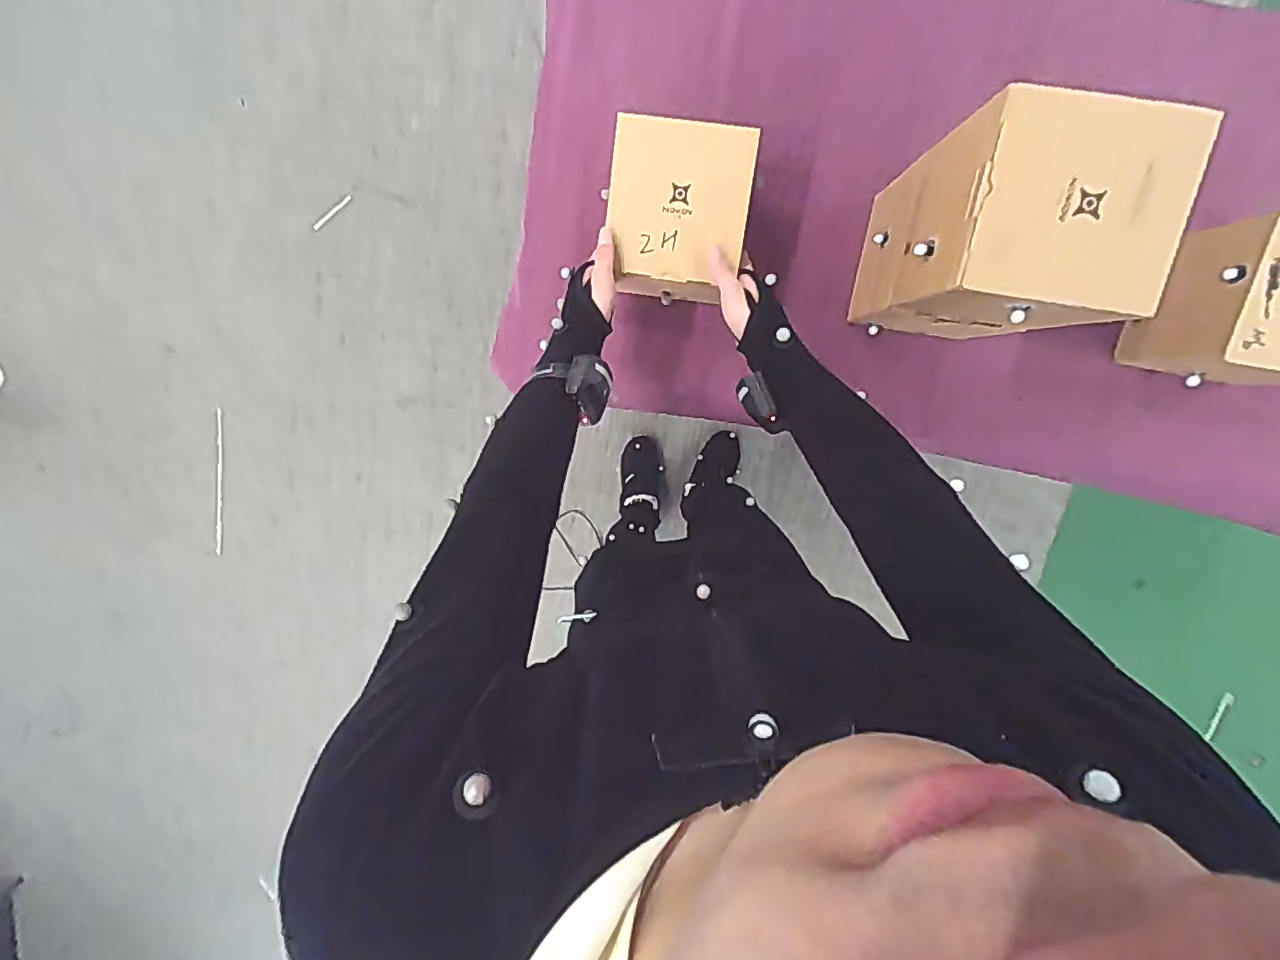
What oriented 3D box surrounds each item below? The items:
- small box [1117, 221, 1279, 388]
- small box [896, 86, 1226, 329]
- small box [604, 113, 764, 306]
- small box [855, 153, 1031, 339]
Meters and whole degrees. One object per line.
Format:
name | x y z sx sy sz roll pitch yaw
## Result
small box | 0.779 -0.212 0.685 0.179 0.176 0.168 11 101 1
small box | 0.384 -0.248 0.536 0.179 0.176 0.168 9 102 1
small box | 0.053 -0.335 0.704 0.168 0.176 0.179 8 102 2
small box | 0.395 -0.283 0.695 0.168 0.176 0.179 9 101 1
